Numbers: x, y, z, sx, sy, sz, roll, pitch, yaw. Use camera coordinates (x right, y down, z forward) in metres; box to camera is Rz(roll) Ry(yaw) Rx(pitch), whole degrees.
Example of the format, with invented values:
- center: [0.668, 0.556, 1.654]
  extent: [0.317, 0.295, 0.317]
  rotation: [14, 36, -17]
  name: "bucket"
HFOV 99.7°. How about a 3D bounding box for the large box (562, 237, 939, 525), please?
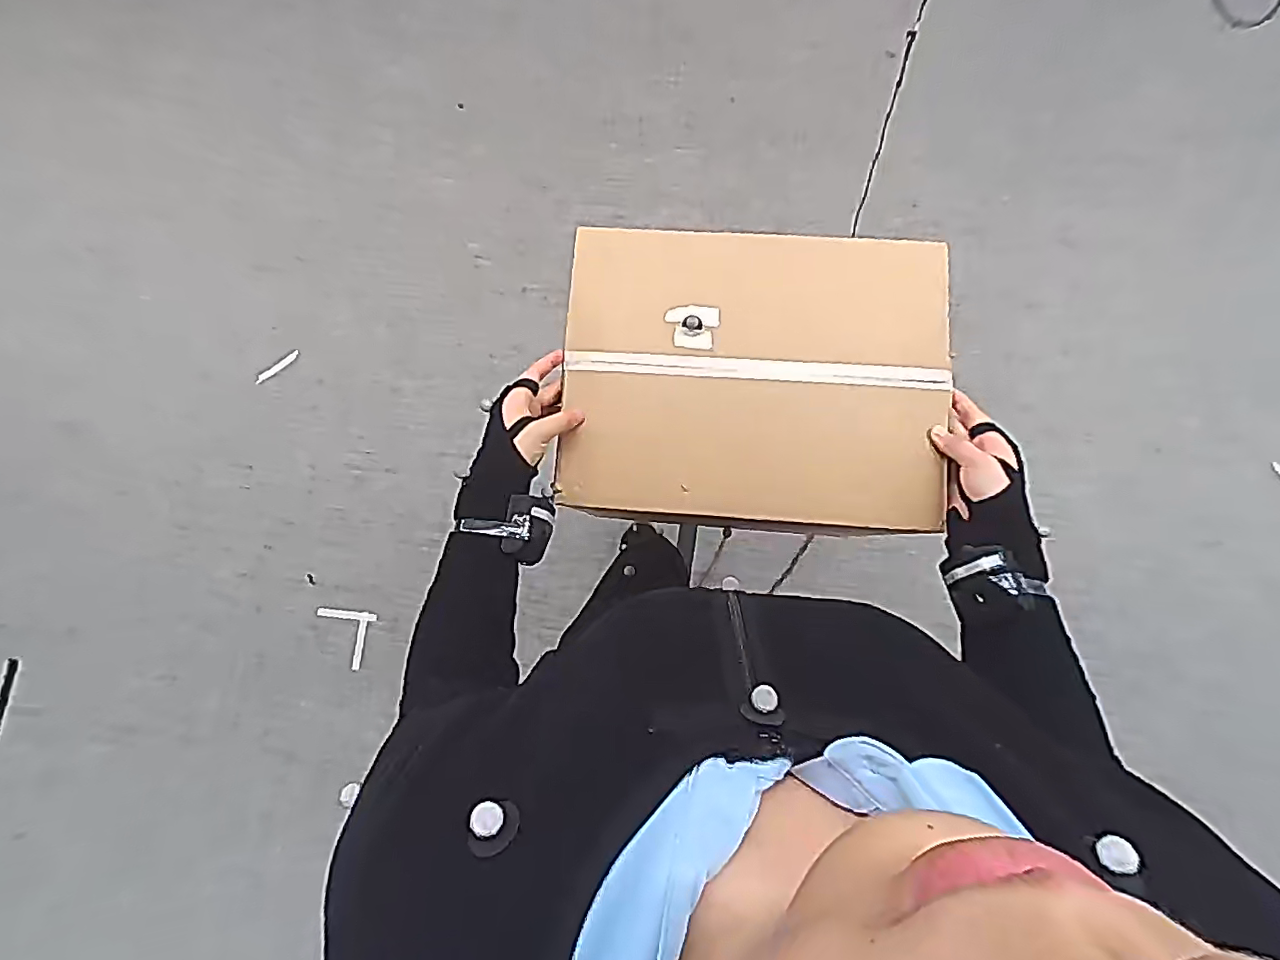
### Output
- center: [0.130, -0.102, 0.736]
  extent: [0.408, 0.320, 0.320]
  rotation: [3, 82, 4]
  name: "large box"
